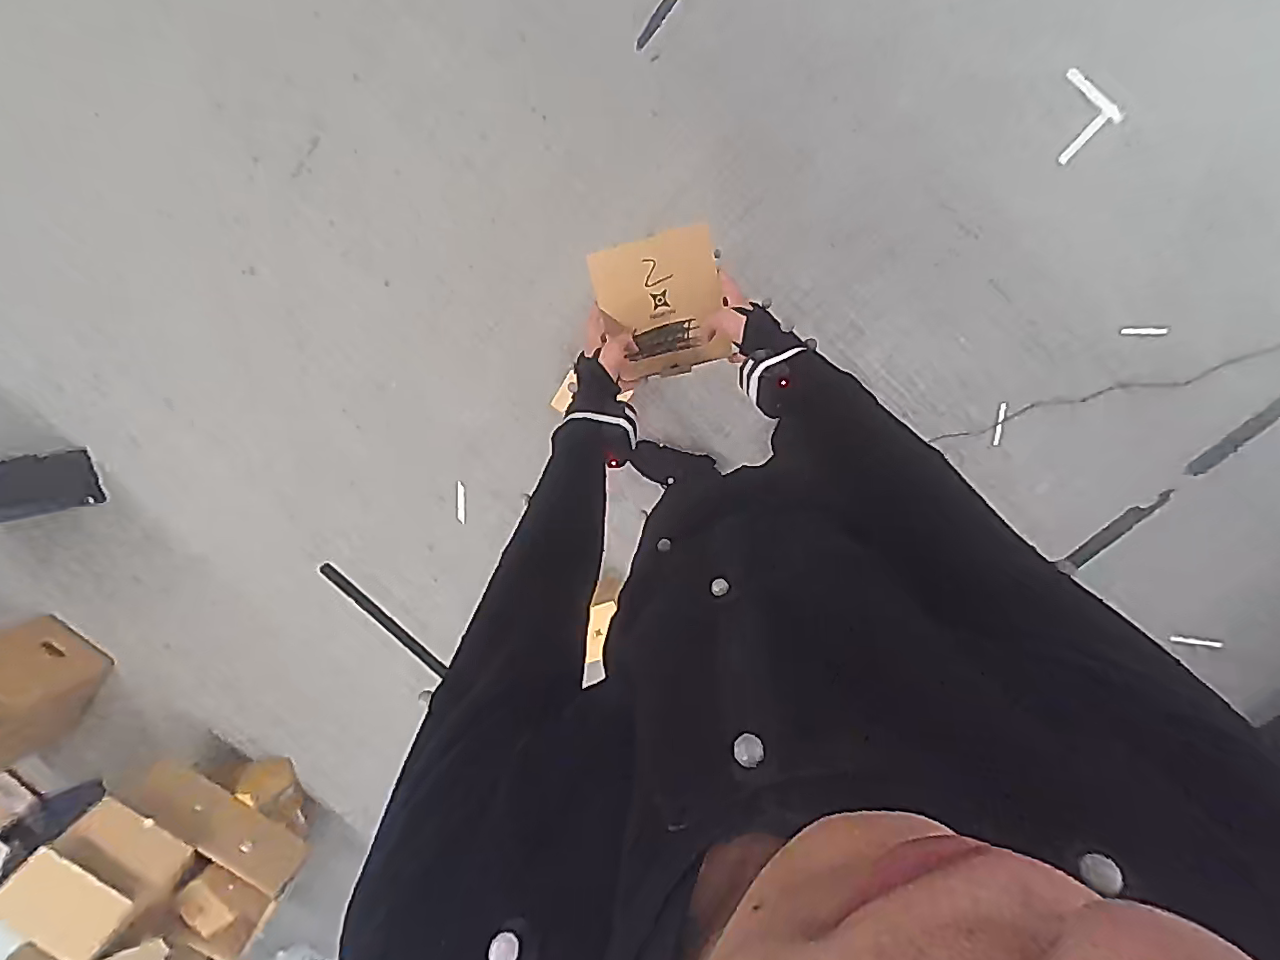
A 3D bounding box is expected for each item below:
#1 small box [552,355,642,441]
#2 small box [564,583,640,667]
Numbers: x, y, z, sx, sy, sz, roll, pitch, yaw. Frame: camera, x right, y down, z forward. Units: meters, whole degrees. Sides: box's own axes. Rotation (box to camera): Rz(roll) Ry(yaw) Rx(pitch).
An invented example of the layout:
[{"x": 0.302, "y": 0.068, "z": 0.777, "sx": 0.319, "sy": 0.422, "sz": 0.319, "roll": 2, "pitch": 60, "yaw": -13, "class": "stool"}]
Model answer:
[{"x": -0.114, "y": -0.230, "z": 1.511, "sx": 0.179, "sy": 0.176, "sz": 0.168, "roll": 33, "pitch": 104, "yaw": -1, "class": "small box"}, {"x": -0.107, "y": 0.438, "z": 1.658, "sx": 0.179, "sy": 0.176, "sz": 0.168, "roll": -20, "pitch": 99, "yaw": 11, "class": "small box"}]
